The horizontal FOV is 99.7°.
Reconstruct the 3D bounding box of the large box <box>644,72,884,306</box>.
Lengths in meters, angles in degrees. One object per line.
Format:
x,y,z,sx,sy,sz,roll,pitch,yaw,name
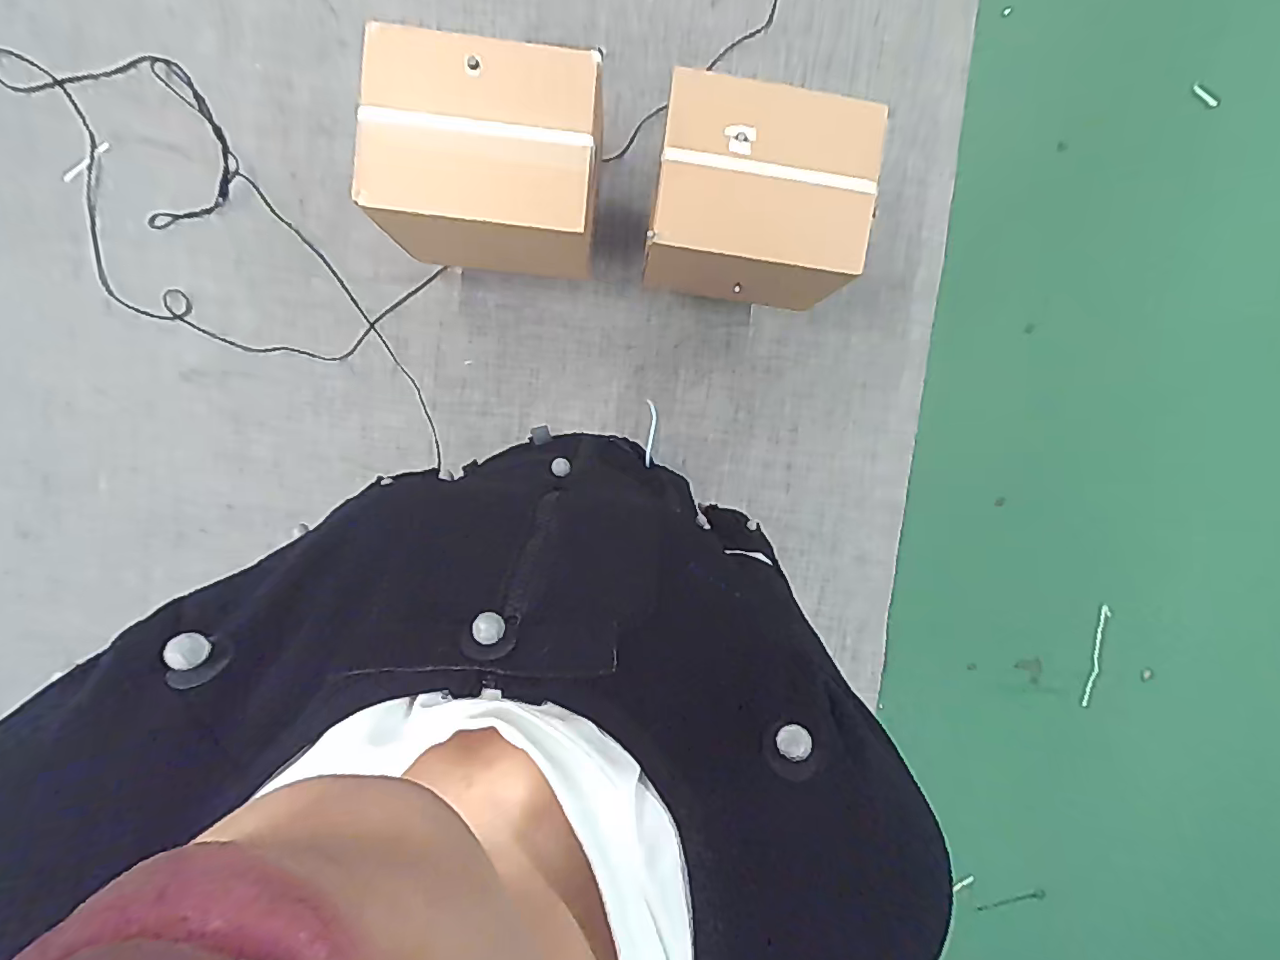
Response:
0.235,-0.582,1.154,0.408,0.320,0.320,8,94,-4,large box
